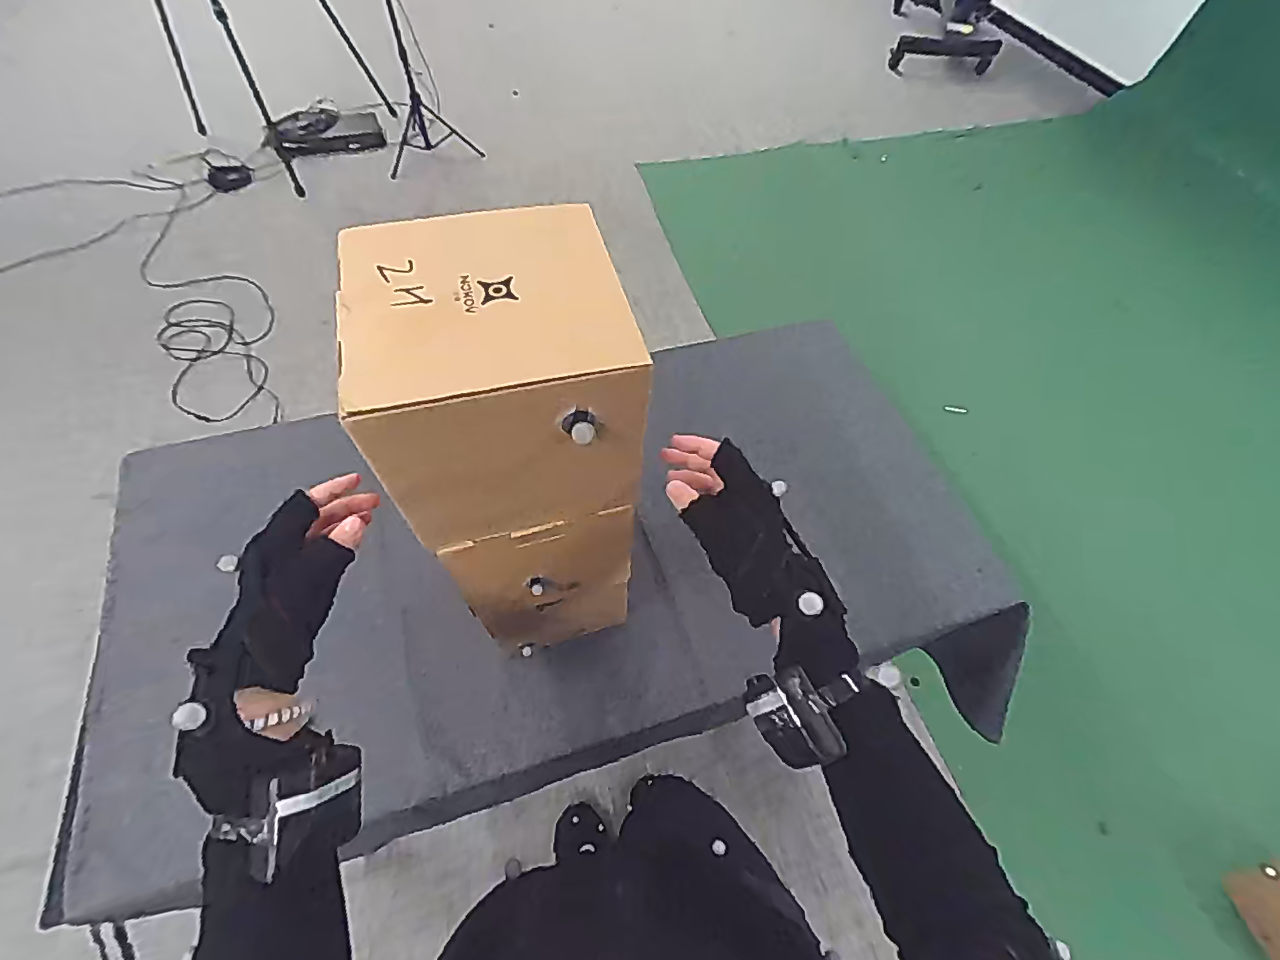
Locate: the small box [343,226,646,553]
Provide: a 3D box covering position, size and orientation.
[{"bbox_3d":[-0.105,-0.064,0.418,0.179,0.176,0.168,-12,59,-11],"label":"small box"}]

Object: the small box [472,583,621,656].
[{"bbox_3d":[-0.123,0.111,0.694,0.168,0.176,0.179,-14,58,-11],"label":"small box"}]

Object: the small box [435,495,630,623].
[{"bbox_3d":[-0.115,0.023,0.558,0.168,0.176,0.179,-14,59,-11],"label":"small box"}]

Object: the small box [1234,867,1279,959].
[{"bbox_3d":[1.406,0.918,1.111,0.179,0.176,0.168,-9,59,-8],"label":"small box"}]
